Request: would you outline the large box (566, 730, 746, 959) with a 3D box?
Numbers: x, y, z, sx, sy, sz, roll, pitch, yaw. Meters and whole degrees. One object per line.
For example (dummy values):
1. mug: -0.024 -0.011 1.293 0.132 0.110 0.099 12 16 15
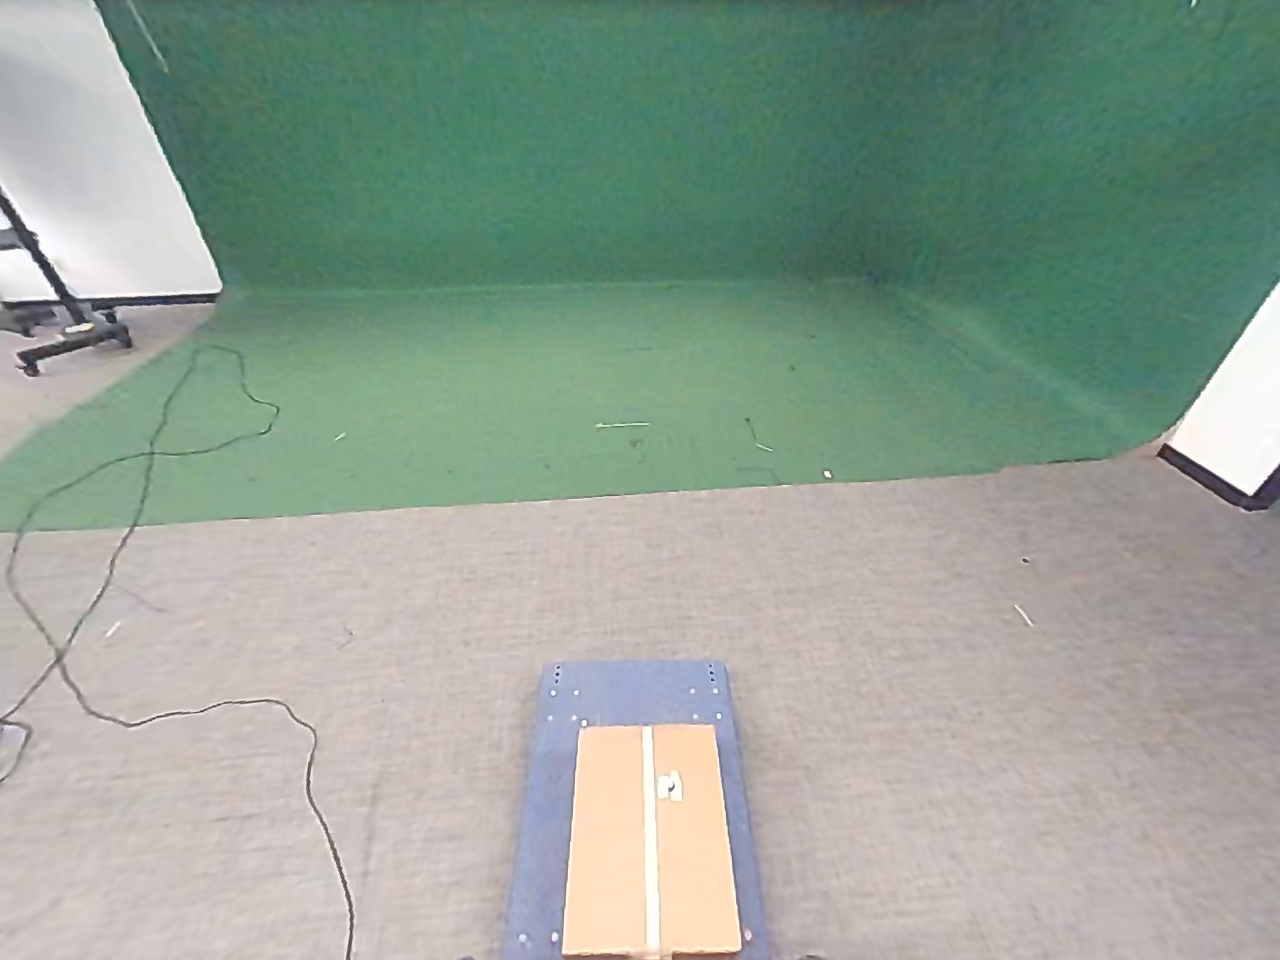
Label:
1. large box: 0.023 0.809 1.155 0.320 0.320 0.408 0 36 -1
